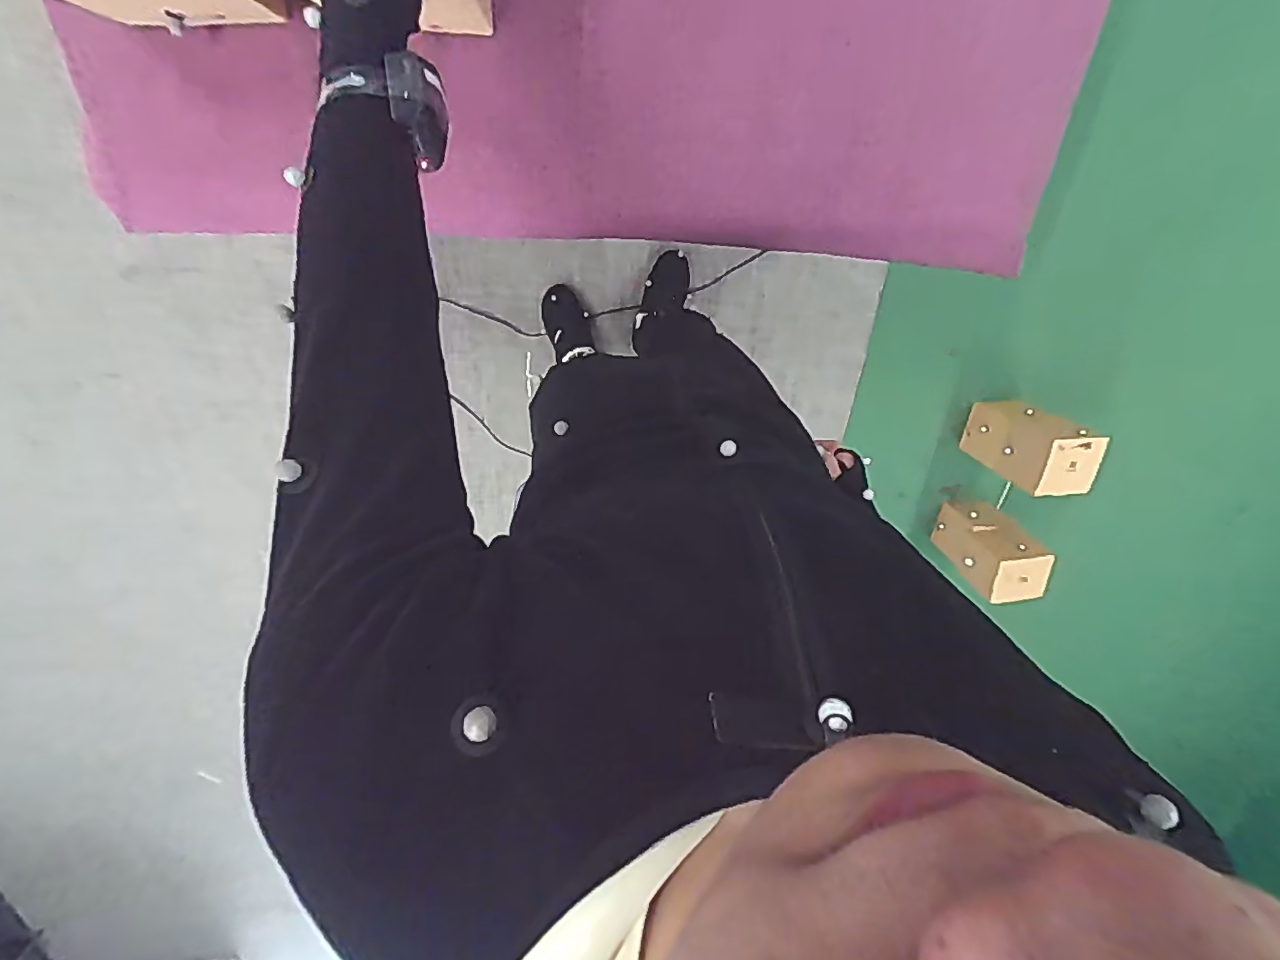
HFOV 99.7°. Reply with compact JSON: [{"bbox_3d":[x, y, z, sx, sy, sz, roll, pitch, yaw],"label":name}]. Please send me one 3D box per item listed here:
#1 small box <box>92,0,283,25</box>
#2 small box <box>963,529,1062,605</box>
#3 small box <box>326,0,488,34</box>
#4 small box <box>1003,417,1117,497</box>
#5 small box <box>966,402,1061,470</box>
[{"bbox_3d":[-0.469,-0.545,0.487,0.168,0.176,0.179,-4,119,-3],"label":"small box"},{"bbox_3d":[1.171,0.271,1.714,0.179,0.176,0.168,-7,117,-2],"label":"small box"},{"bbox_3d":[-0.242,-0.554,0.504,0.168,0.176,0.179,0,119,-6],"label":"small box"},{"bbox_3d":[1.181,-0.068,1.539,0.168,0.176,0.179,-3,118,-5],"label":"small box"},{"bbox_3d":[1.165,-0.140,1.686,0.179,0.176,0.168,-1,117,-6],"label":"small box"}]
